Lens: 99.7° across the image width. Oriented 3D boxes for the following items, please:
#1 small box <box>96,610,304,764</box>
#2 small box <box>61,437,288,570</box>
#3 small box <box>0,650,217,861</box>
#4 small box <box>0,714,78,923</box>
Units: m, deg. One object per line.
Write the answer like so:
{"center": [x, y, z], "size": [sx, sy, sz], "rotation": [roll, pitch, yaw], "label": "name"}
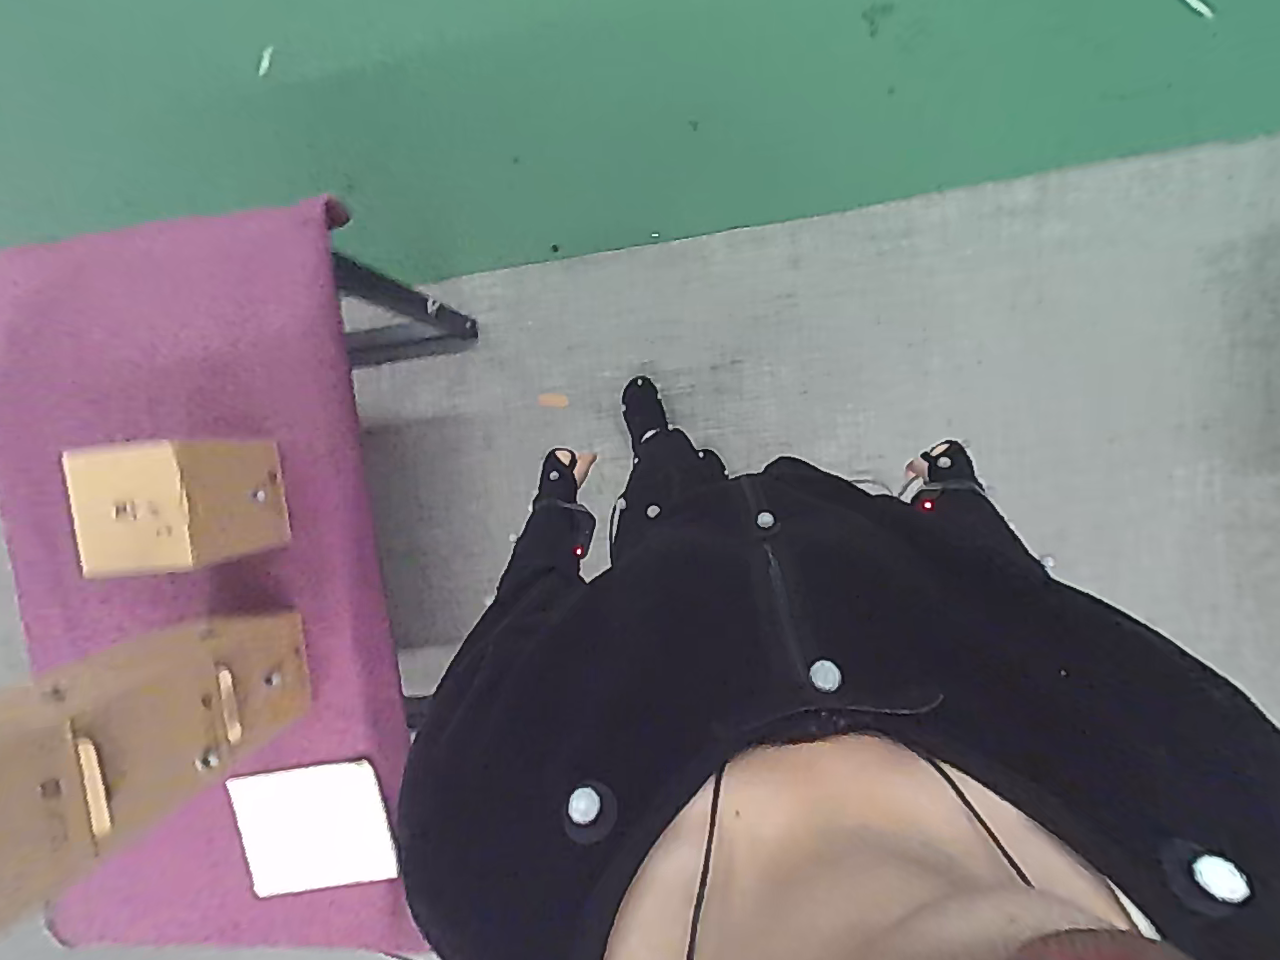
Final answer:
{"center": [-0.636, 0.301, 0.808], "size": [0.179, 0.176, 0.168], "rotation": [-5, 94, 6], "label": "small box"}
{"center": [-0.660, 0.028, 0.786], "size": [0.179, 0.176, 0.168], "rotation": [-5, 95, 7], "label": "small box"}
{"center": [-0.648, 0.314, 0.644], "size": [0.179, 0.176, 0.168], "rotation": [-5, 94, 8], "label": "small box"}
{"center": [-0.662, 0.327, 0.482], "size": [0.179, 0.176, 0.168], "rotation": [-4, 94, 7], "label": "small box"}
